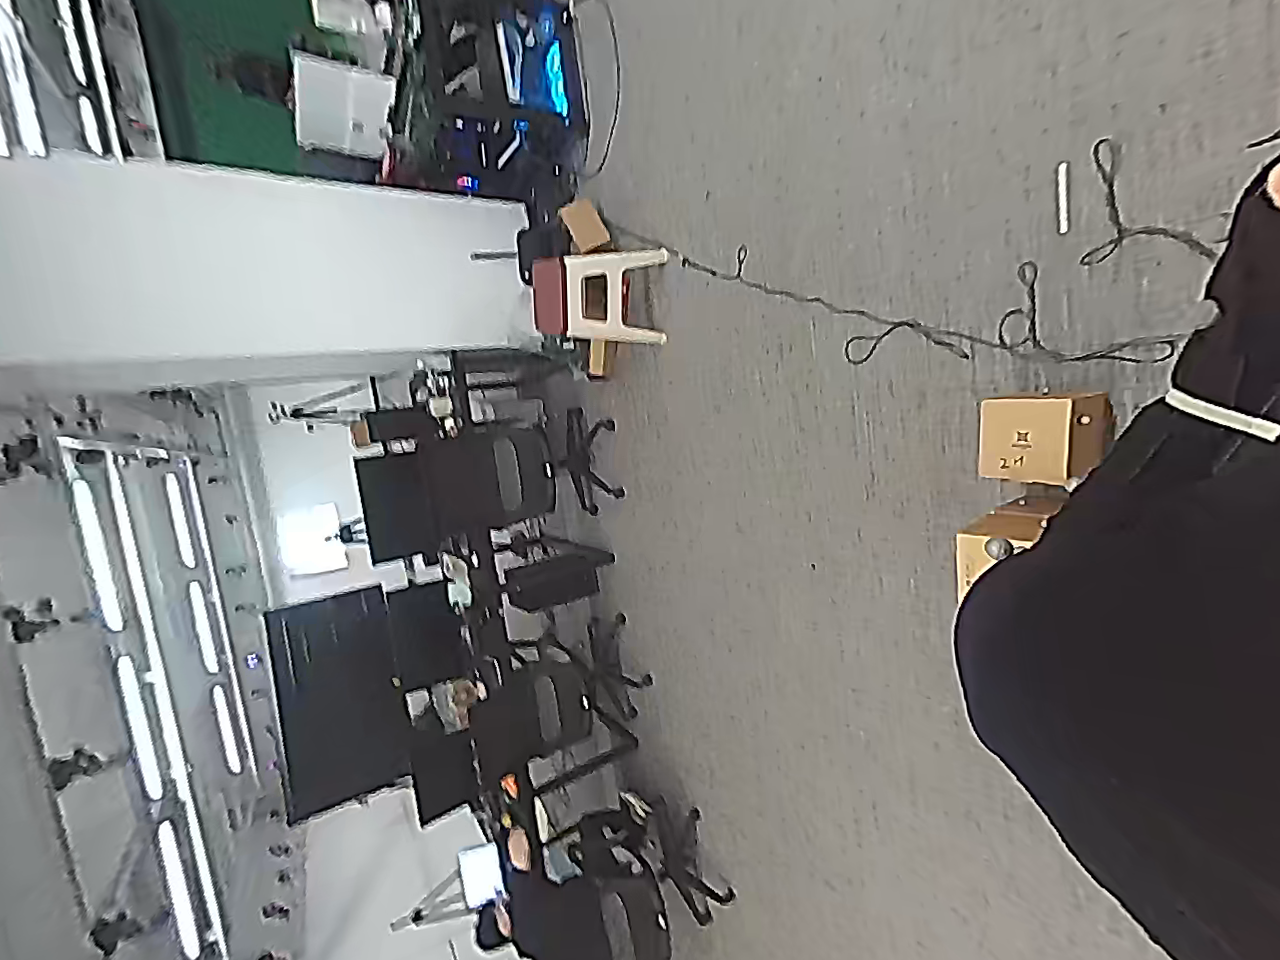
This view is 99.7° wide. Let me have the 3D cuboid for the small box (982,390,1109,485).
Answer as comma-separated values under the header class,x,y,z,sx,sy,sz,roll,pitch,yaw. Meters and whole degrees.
class,x,y,z,sx,sy,sz,roll,pitch,yaw
small box,0.856,-0.097,1.143,0.168,0.176,0.179,13,111,58
